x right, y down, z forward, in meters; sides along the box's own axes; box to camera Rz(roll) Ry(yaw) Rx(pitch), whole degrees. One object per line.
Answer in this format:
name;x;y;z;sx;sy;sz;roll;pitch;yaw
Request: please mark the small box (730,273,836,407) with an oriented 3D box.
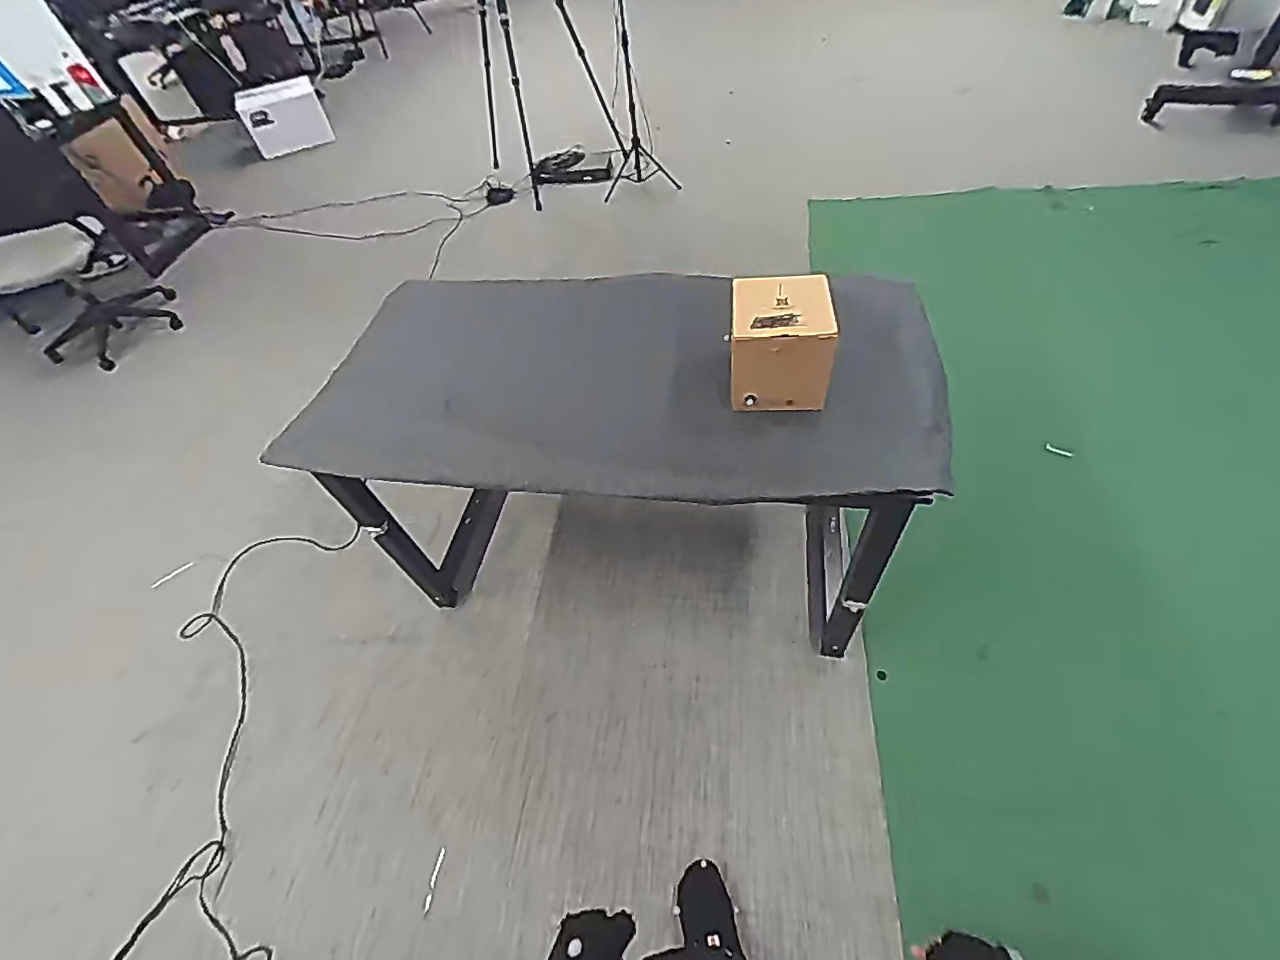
small box;0.249;-0.246;0.972;0.168;0.176;0.179;1;51;9
